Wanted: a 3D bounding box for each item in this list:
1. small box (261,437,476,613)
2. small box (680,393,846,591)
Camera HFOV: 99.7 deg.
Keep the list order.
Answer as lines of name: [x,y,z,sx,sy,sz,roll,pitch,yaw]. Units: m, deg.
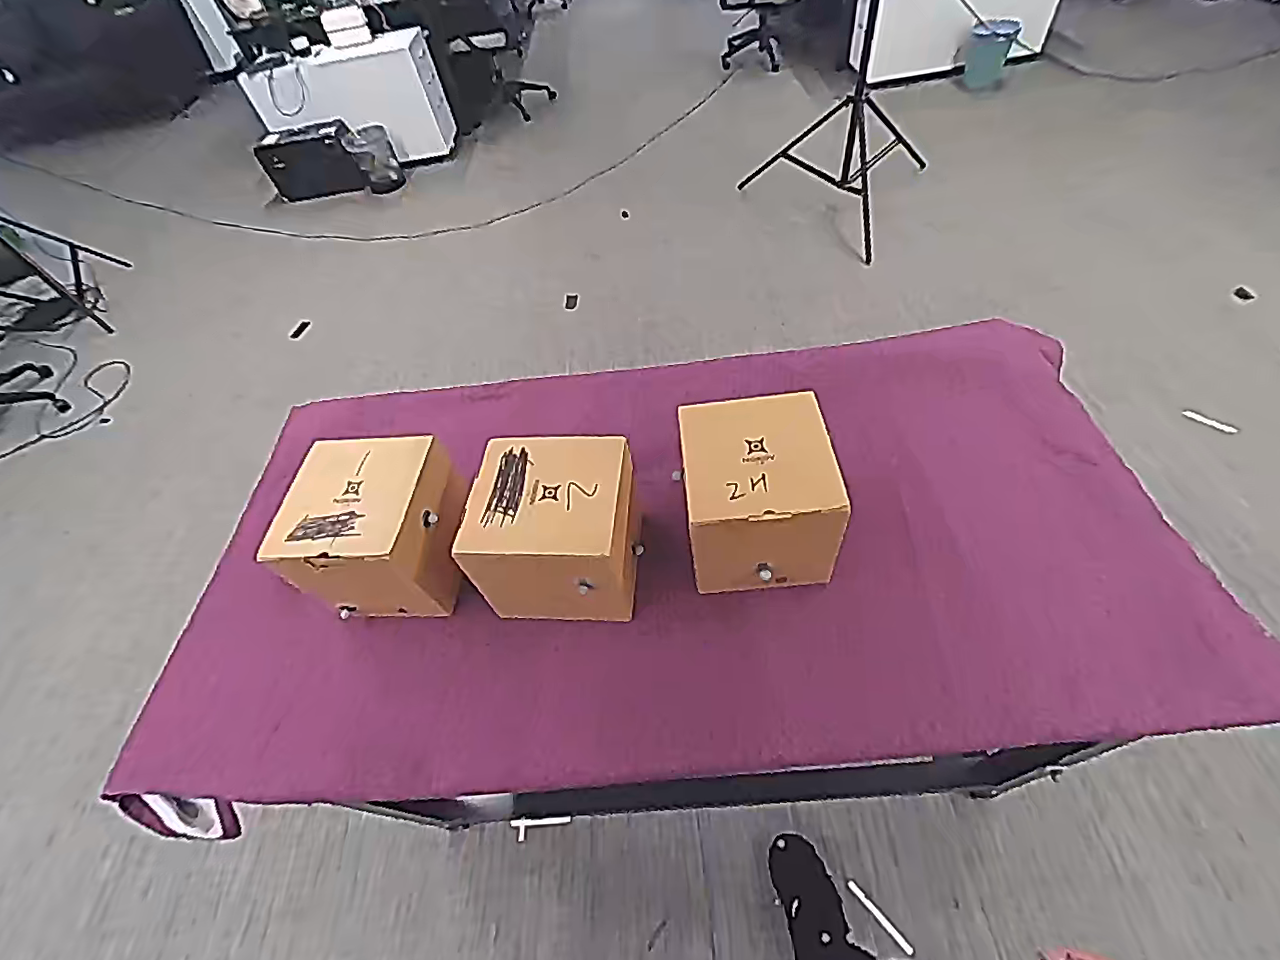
small box: [-0.335,0.065,0.713,0.168,0.176,0.179,-2,53,7]
small box: [0.139,0.018,0.673,0.168,0.176,0.179,-6,52,5]
